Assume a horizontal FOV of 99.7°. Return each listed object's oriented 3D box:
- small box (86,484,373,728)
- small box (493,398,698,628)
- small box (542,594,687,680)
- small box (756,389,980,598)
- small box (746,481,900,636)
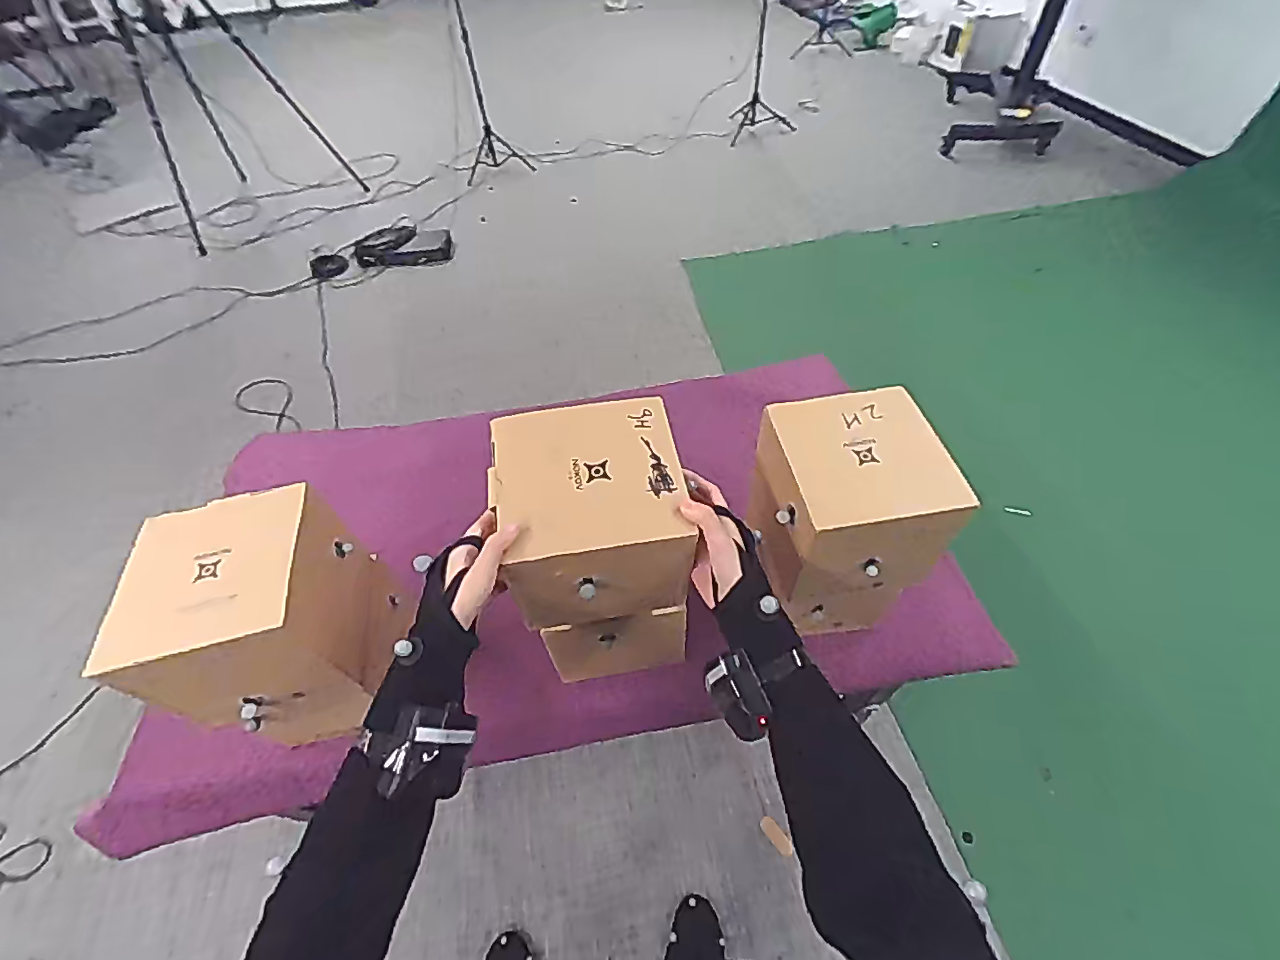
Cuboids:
[{"bbox_3d":[-0.404,0.135,0.577,0.168,0.176,0.179,-13,51,-7],"label":"small box"},{"bbox_3d":[-0.046,0.041,0.565,0.179,0.176,0.168,-9,56,-6],"label":"small box"},{"bbox_3d":[-0.035,0.159,0.746,0.179,0.176,0.168,-8,51,-4],"label":"small box"},{"bbox_3d":[0.242,0.023,0.627,0.168,0.176,0.179,-8,52,-2],"label":"small box"},{"bbox_3d":[0.251,0.111,0.767,0.168,0.176,0.179,-5,52,0],"label":"small box"}]
